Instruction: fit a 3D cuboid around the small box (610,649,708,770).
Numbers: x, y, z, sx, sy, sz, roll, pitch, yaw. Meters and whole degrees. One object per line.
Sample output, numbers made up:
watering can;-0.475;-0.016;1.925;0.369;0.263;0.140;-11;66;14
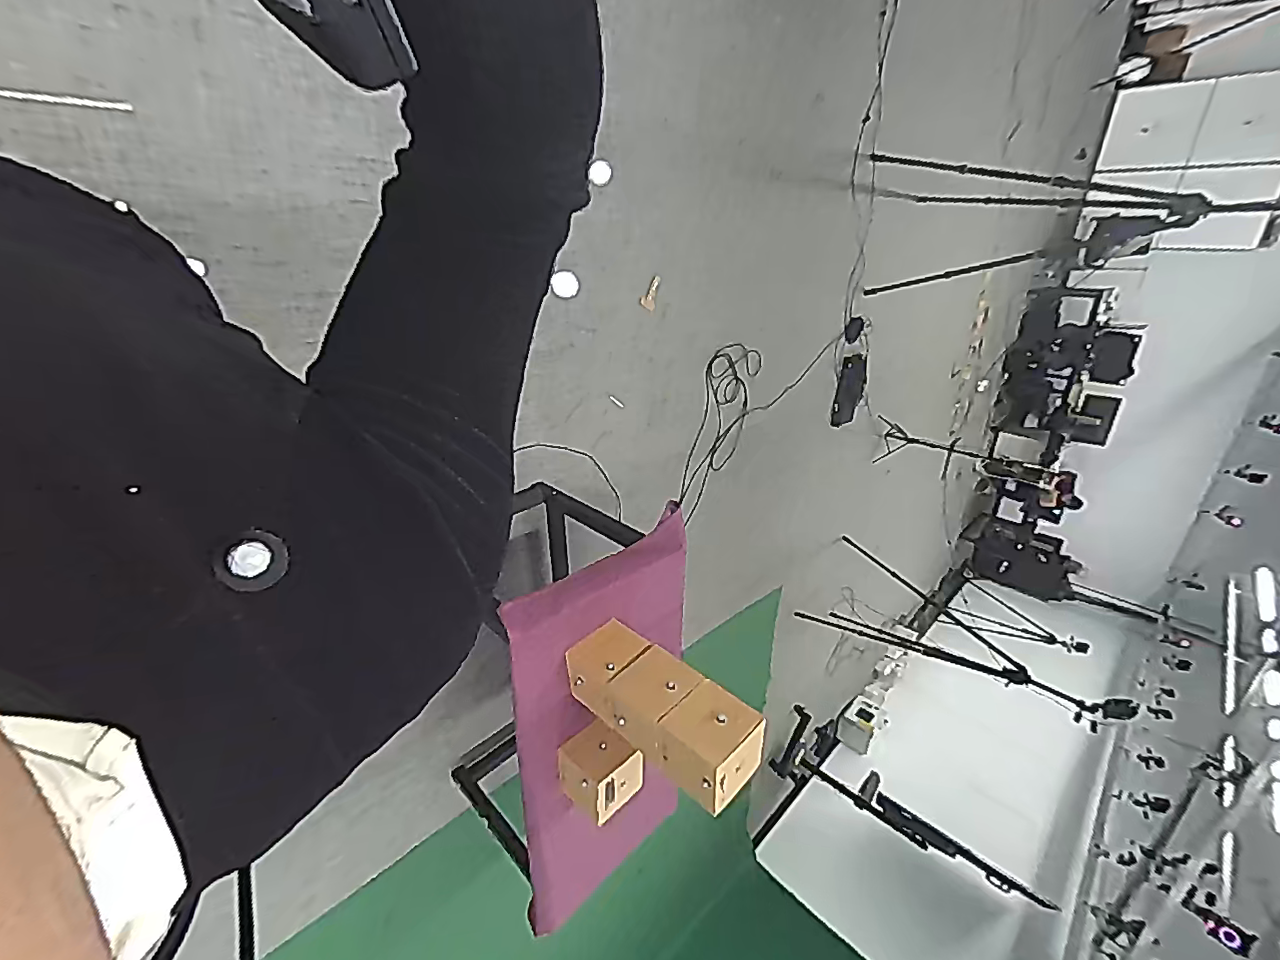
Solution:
small box;0.049;0.553;1.327;0.179;0.176;0.168;-28;126;-36

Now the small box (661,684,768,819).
small box;0.166;0.601;1.223;0.179;0.176;0.168;-26;125;-38

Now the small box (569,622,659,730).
small box;-0.065;0.510;1.438;0.179;0.176;0.168;-27;126;-37
